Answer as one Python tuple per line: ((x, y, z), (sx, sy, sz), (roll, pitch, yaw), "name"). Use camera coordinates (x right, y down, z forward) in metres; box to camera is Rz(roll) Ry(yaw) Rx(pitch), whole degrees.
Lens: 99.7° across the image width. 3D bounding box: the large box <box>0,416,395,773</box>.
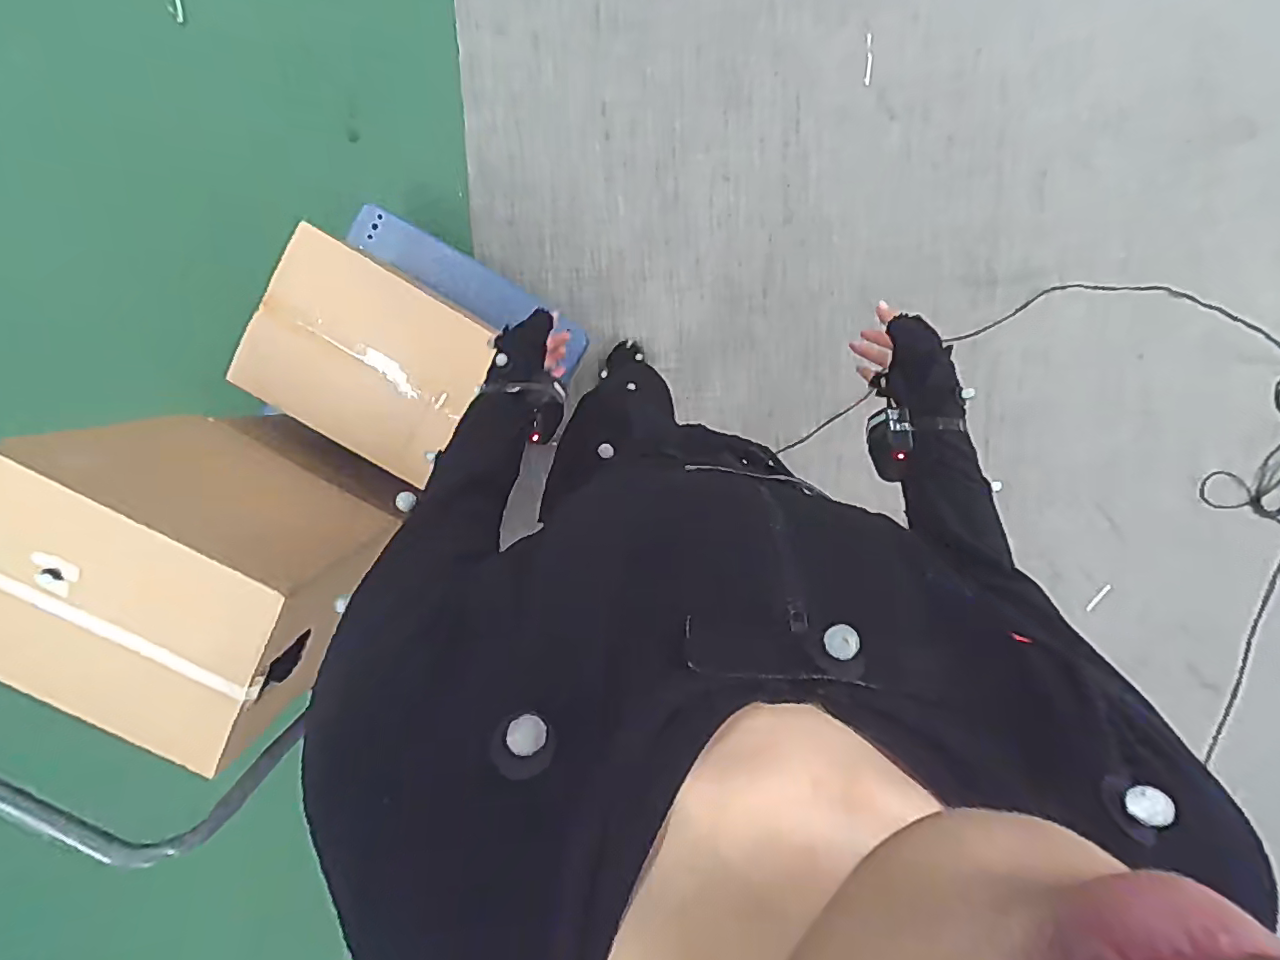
((-0.672, 0.141, 0.823), (0.408, 0.320, 0.320), (29, 102, -3), "large box")
